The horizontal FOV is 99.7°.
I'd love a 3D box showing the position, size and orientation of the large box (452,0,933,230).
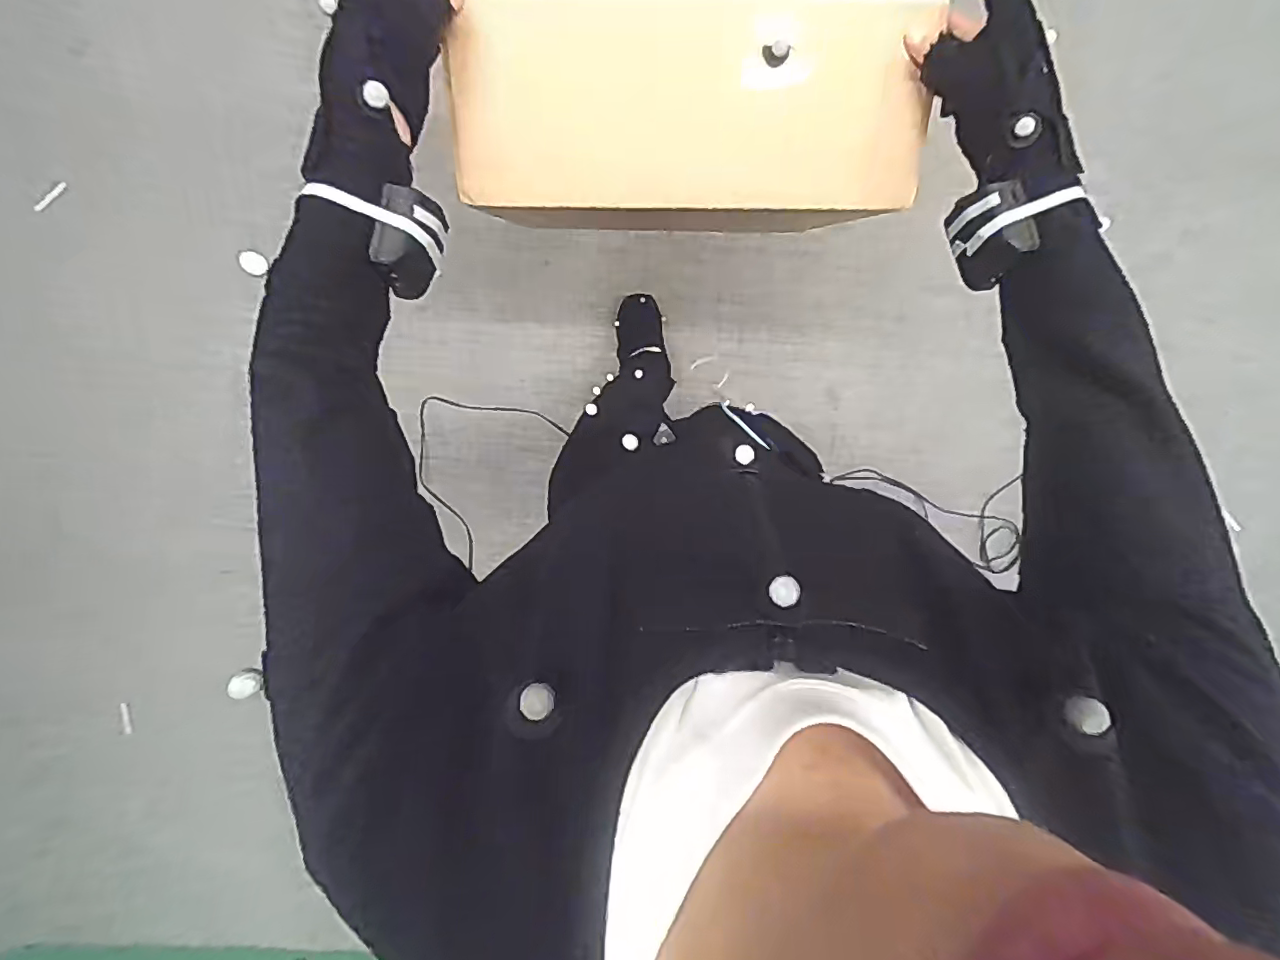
[{"bbox_3d":[0.039,-0.451,0.577,0.408,0.320,0.320,0,111,-2],"label":"large box"}]
